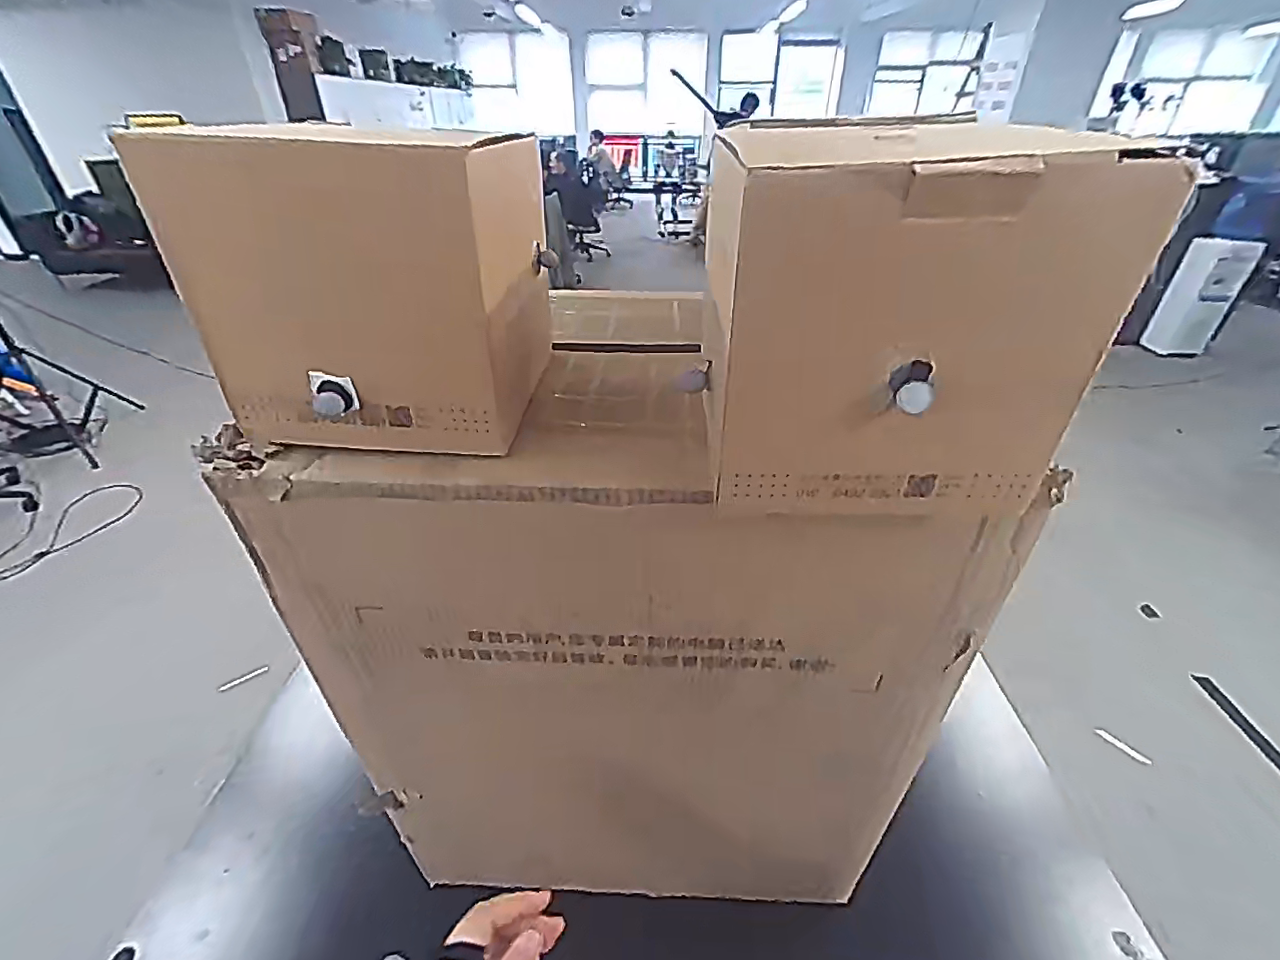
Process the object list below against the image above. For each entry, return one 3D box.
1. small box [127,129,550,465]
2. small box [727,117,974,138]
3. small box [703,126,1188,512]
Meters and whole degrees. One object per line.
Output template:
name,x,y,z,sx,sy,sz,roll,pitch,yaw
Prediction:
small box,-0.157,-0.128,0.361,0.168,0.176,0.179,2,35,1
small box,0.164,-0.231,0.505,0.168,0.176,0.179,-1,31,2
small box,0.125,-0.094,0.313,0.168,0.176,0.179,0,37,2
